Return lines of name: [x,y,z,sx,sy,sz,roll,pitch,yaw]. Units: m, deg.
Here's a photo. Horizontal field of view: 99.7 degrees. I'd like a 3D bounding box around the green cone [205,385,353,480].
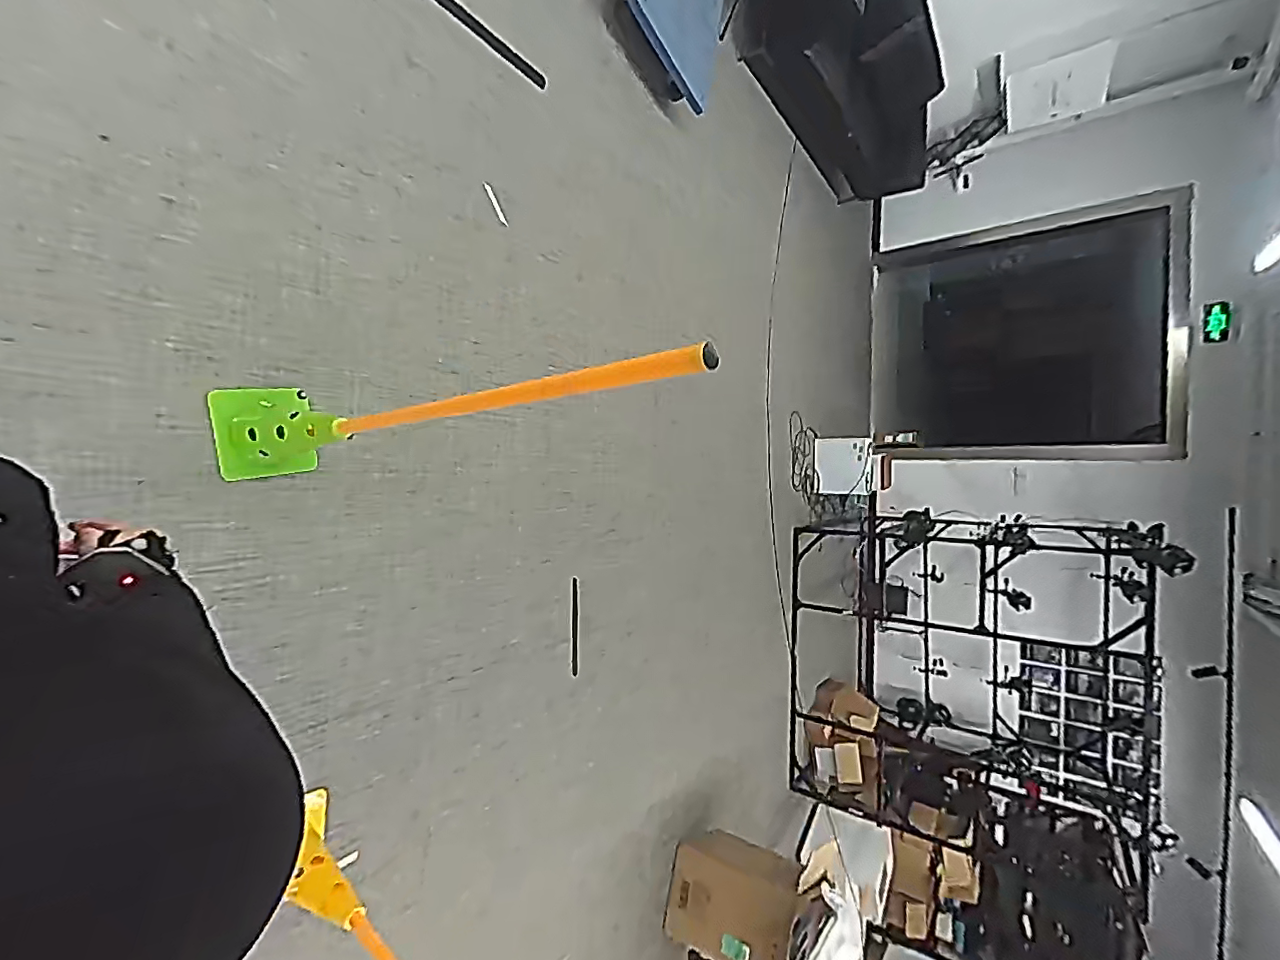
green cone: [-0.715,-0.103,1.127,0.200,0.368,0.202,-17,106,-53]
